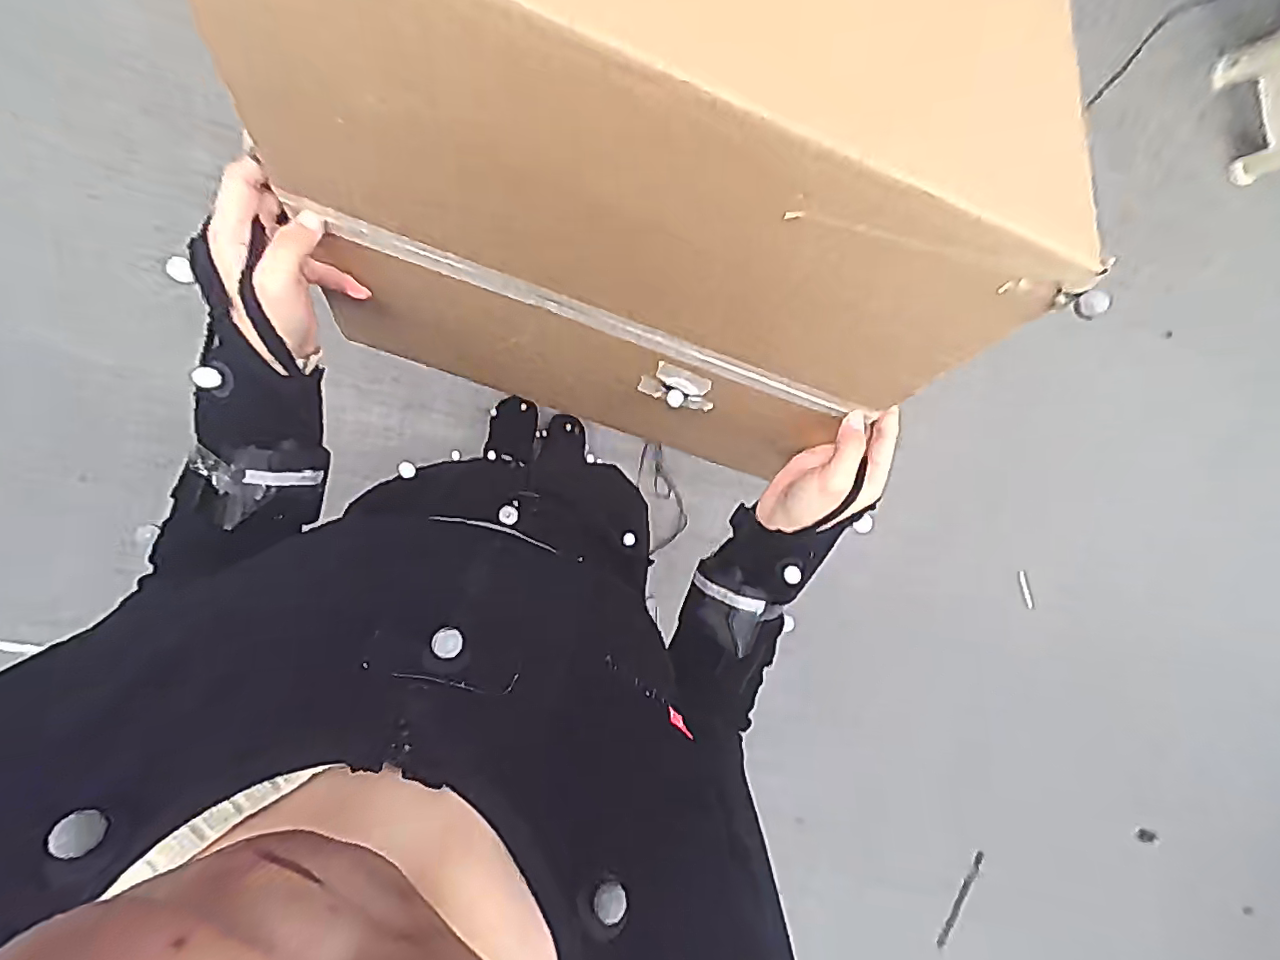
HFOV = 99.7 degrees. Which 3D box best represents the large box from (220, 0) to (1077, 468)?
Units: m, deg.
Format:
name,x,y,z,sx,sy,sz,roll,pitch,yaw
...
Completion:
name,x,y,z,sx,sy,sz,roll,pitch,yaw
large box,0.011,-0.250,0.412,0.408,0.320,0.320,17,69,-10
